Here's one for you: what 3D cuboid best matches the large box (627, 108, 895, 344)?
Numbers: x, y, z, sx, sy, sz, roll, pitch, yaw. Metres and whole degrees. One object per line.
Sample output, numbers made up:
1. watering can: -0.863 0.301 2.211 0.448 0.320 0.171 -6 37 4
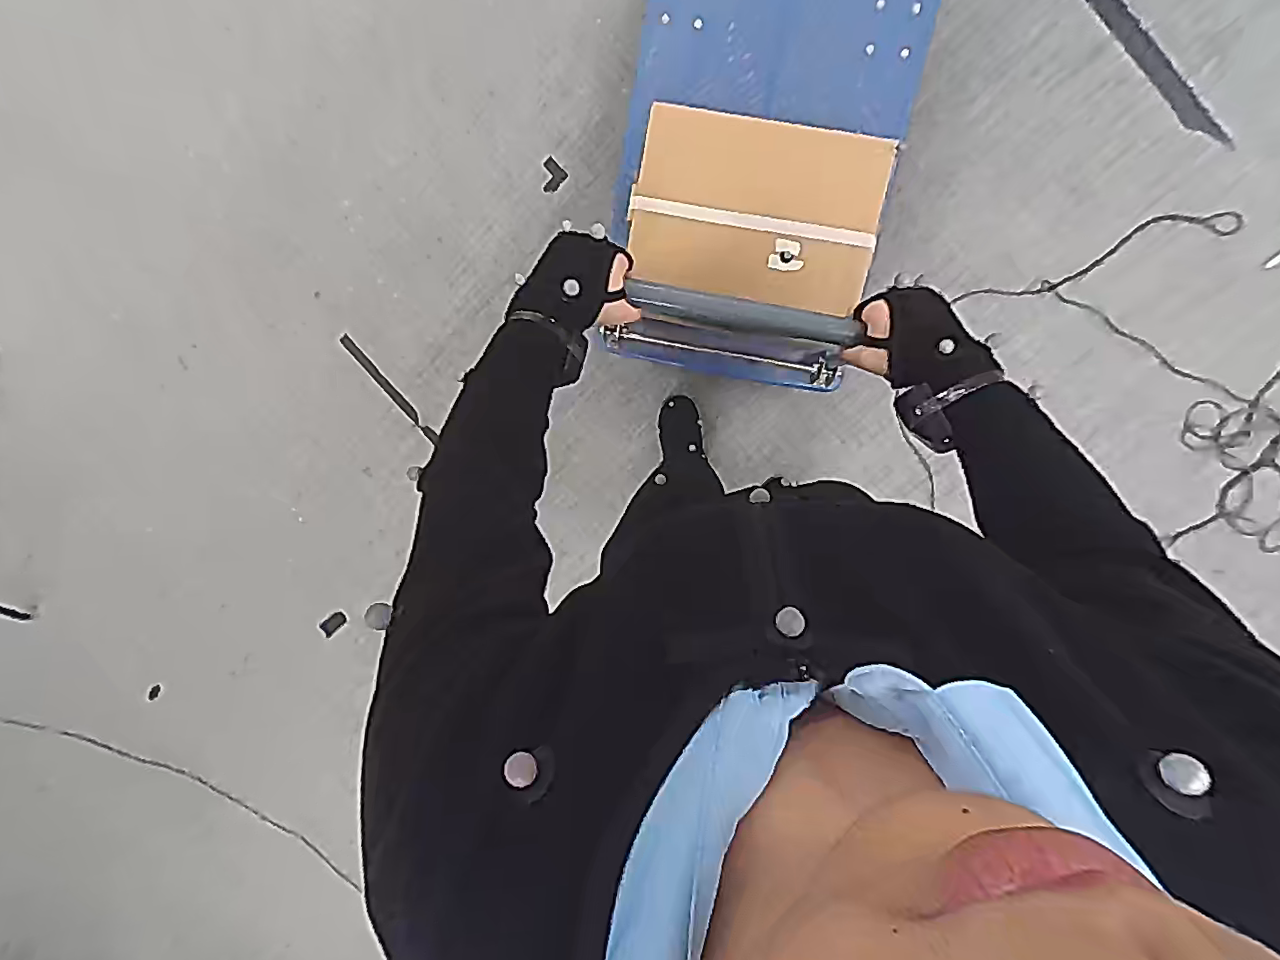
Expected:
1. large box: 0.204 -0.460 1.055 0.408 0.320 0.320 11 102 3
